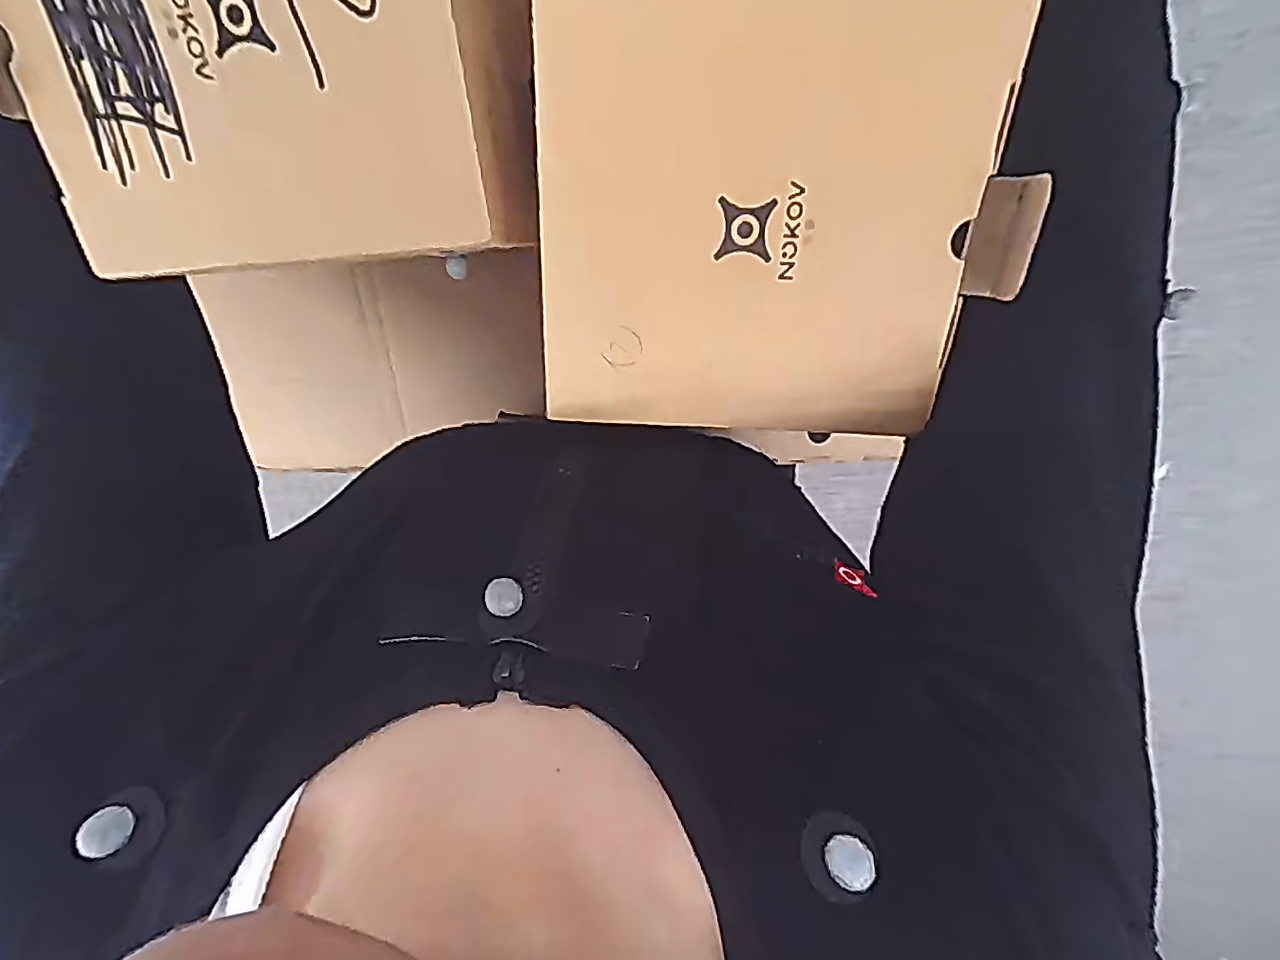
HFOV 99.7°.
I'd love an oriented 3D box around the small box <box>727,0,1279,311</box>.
[{"bbox_3d":[0.152,-0.192,0.244,0.179,0.176,0.168,15,120,-6],"label":"small box"}]
